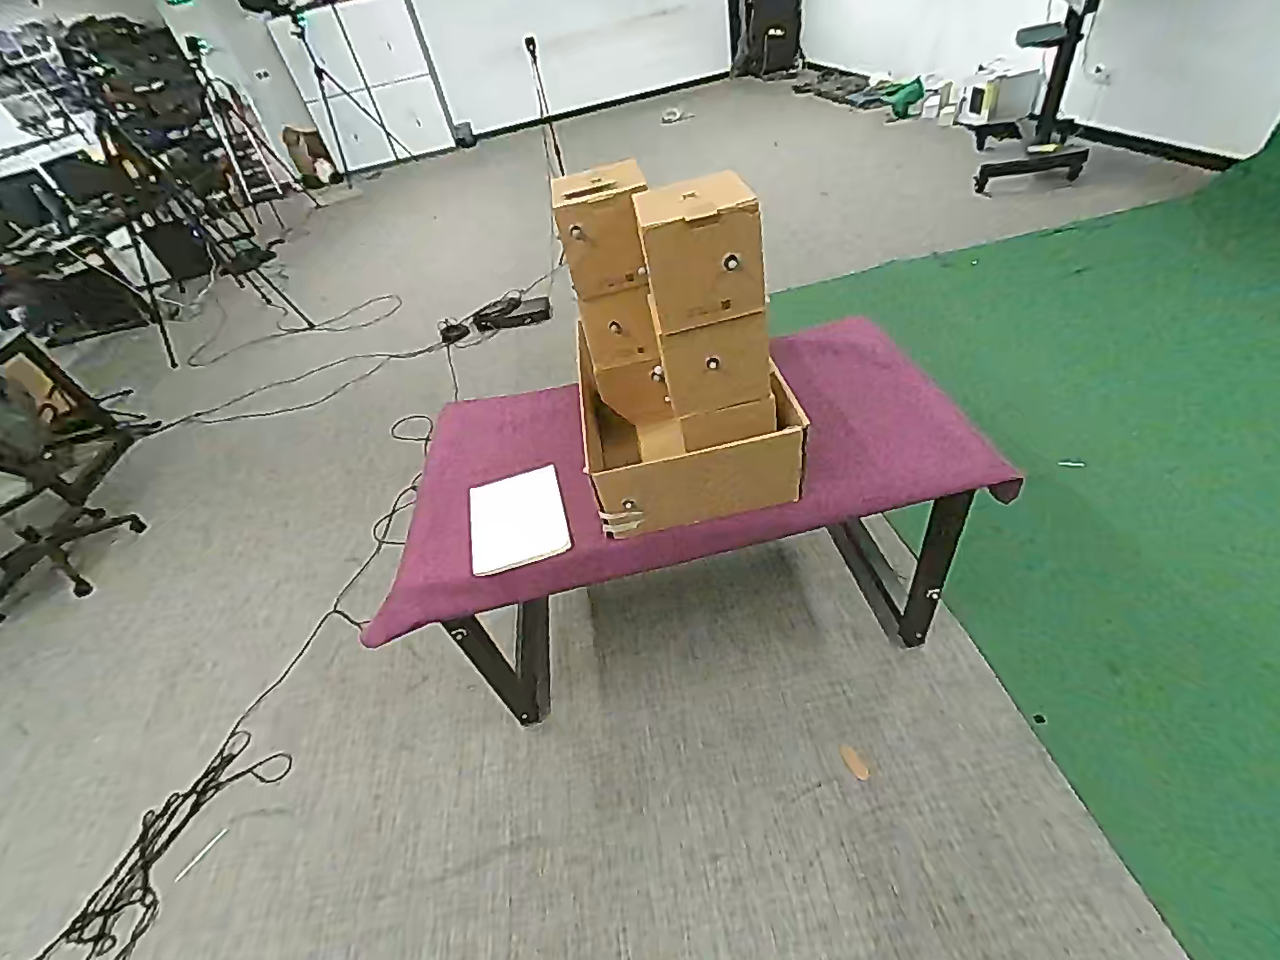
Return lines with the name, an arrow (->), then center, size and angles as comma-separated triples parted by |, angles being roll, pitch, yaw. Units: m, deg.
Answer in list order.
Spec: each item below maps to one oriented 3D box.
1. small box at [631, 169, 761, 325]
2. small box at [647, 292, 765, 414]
small box -> 0.088, -0.360, 0.852 | 0.168, 0.176, 0.179 | -12, 41, 4
small box -> 0.119, -0.243, 0.961 | 0.179, 0.176, 0.168 | -13, 41, 5
